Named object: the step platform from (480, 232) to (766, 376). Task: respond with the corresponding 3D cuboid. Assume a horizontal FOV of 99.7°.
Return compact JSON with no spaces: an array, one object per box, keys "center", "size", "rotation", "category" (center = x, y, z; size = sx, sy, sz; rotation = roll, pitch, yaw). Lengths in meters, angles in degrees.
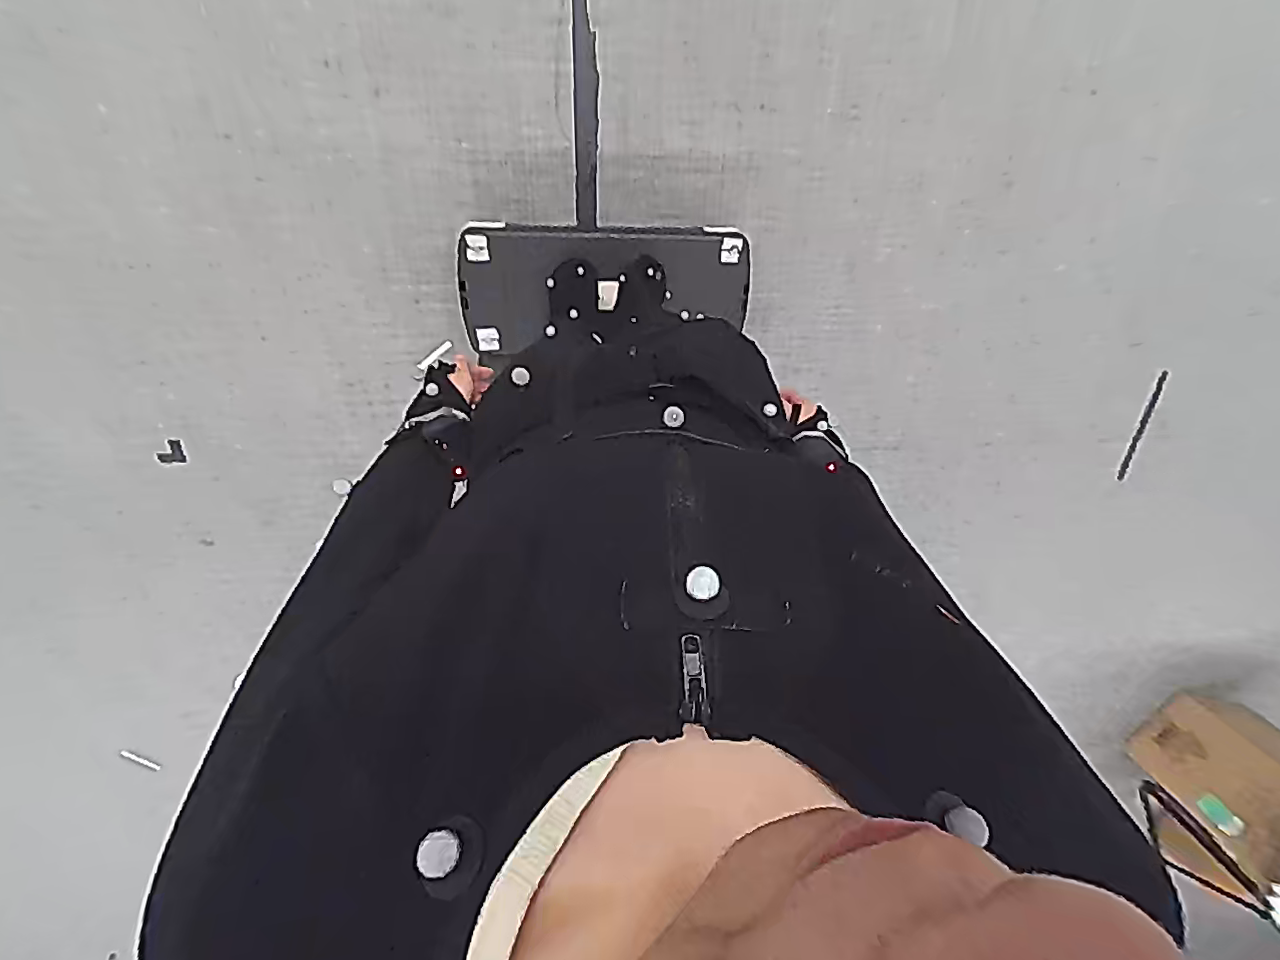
[{"center":[-0.041,-0.428,1.335],"size":[0.684,0.204,0.286],"rotation":[2,115,-9],"category":"step platform"}]
